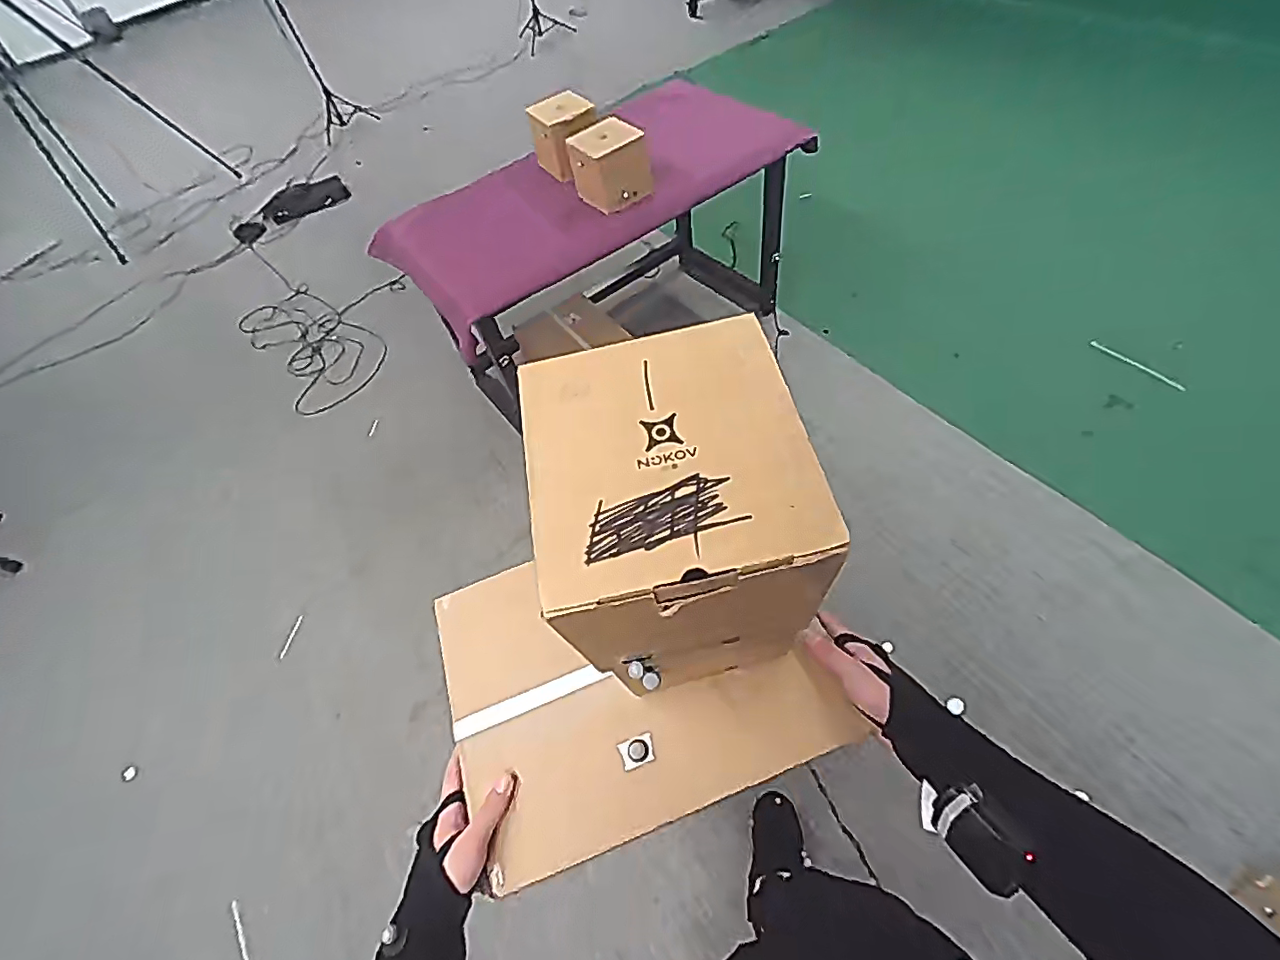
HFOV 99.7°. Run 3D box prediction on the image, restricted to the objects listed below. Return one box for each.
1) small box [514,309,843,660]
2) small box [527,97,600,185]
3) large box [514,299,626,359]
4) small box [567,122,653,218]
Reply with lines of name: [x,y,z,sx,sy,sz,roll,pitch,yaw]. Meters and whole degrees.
small box: [0.021,0.017,0.380,0.168,0.176,0.179,-12,59,1]
small box: [-0.229,-1.070,1.712,0.168,0.176,0.179,-33,58,-12]
large box: [-0.215,-0.417,2.073,0.320,0.320,0.408,-34,56,-14]
small box: [-0.083,-0.892,1.562,0.168,0.176,0.179,-34,56,-11]
